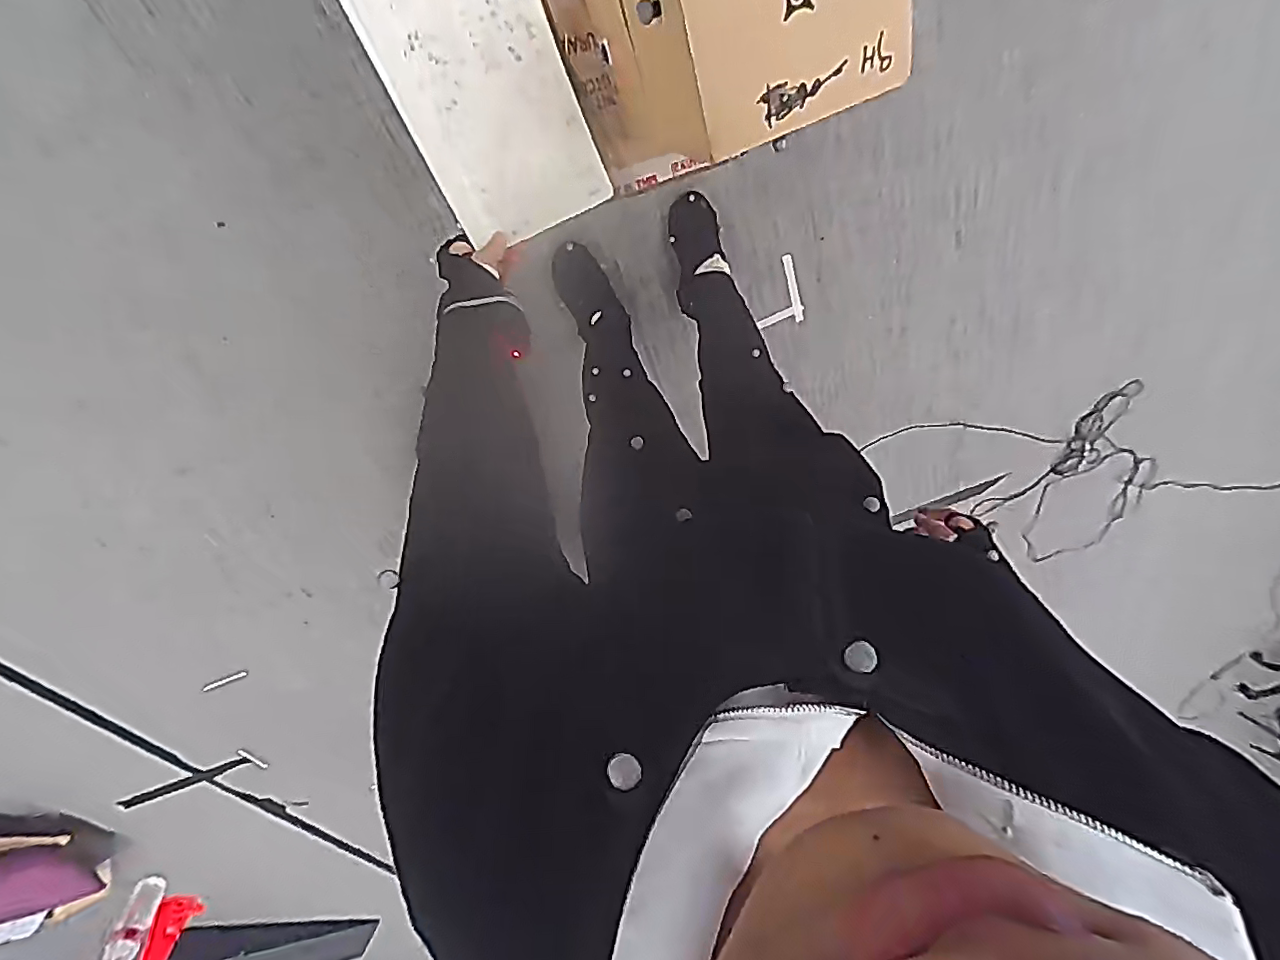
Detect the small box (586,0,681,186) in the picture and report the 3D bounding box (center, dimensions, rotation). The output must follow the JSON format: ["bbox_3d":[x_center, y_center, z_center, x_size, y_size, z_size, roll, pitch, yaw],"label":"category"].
[{"bbox_3d":[0.058,-0.449,0.586,0.179,0.176,0.168,-24,126,3],"label":"small box"}]

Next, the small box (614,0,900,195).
[{"bbox_3d":[0.088,-0.364,0.449,0.168,0.176,0.179,-23,126,0],"label":"small box"}]
